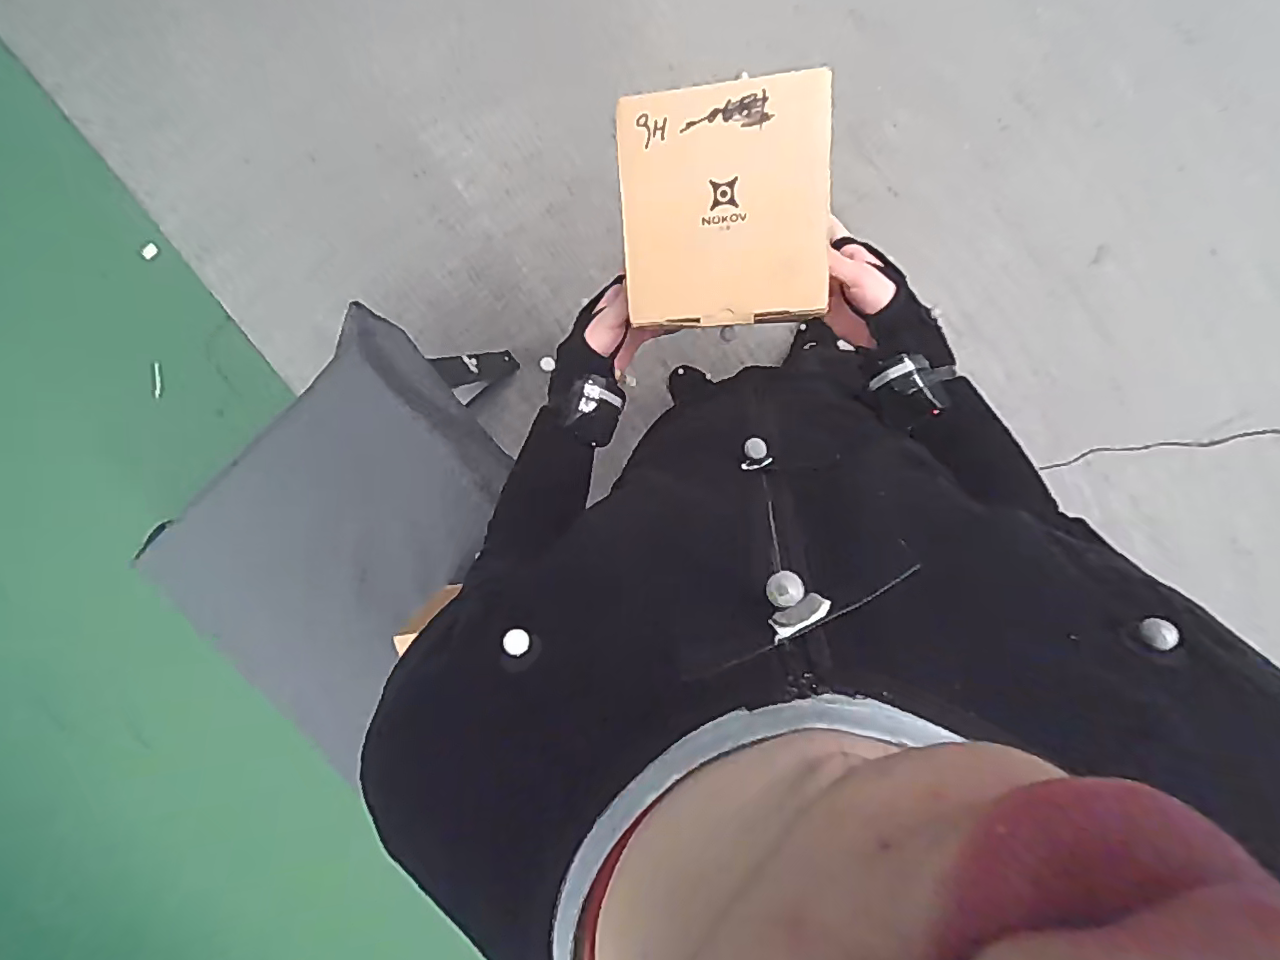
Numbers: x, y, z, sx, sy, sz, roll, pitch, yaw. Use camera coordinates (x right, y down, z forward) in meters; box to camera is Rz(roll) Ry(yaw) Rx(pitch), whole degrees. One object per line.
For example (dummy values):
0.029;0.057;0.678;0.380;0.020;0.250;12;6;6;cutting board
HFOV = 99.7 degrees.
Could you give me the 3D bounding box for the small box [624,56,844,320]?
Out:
0.083;-0.244;0.500;0.168;0.176;0.179;-1;105;8;small box
